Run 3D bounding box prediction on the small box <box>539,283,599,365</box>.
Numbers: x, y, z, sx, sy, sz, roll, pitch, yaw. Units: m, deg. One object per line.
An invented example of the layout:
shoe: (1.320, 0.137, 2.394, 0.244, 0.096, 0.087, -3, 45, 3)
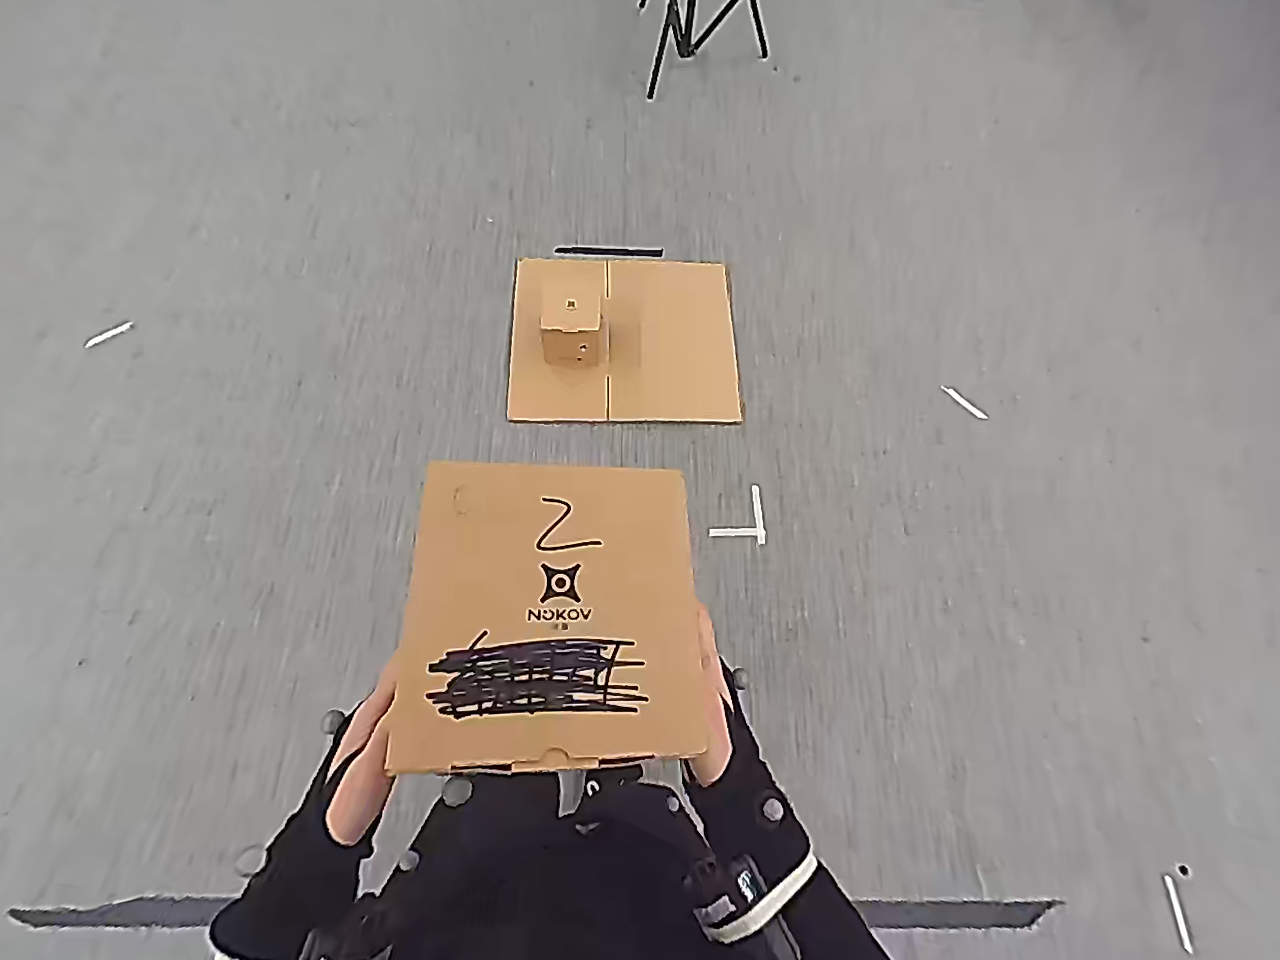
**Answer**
small box: (-0.206, -0.459, 1.611, 0.168, 0.176, 0.179, 1, 67, -5)
